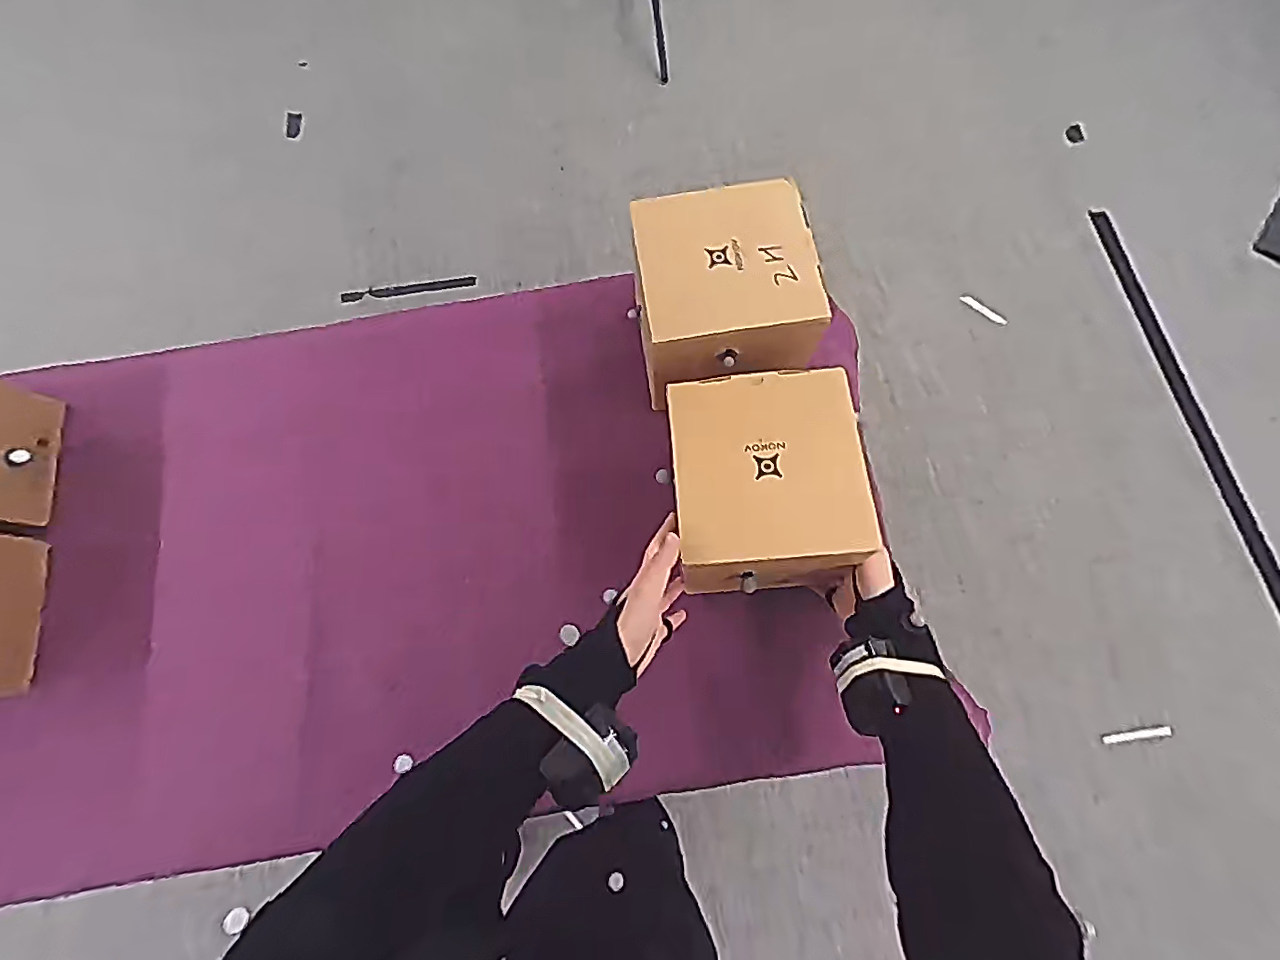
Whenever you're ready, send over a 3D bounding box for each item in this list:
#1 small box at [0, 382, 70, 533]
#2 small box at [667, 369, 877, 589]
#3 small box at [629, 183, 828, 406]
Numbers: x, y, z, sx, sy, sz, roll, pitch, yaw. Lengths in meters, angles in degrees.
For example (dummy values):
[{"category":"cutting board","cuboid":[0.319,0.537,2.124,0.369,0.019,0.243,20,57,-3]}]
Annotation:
[{"category":"small box","cuboid":[-0.819,-0.028,0.605,0.179,0.176,0.168,-7,77,-1]},{"category":"small box","cuboid":[0.119,0.013,0.550,0.168,0.176,0.179,-5,69,4]},{"category":"small box","cuboid":[0.087,-0.195,0.611,0.179,0.176,0.168,-8,75,0]}]
